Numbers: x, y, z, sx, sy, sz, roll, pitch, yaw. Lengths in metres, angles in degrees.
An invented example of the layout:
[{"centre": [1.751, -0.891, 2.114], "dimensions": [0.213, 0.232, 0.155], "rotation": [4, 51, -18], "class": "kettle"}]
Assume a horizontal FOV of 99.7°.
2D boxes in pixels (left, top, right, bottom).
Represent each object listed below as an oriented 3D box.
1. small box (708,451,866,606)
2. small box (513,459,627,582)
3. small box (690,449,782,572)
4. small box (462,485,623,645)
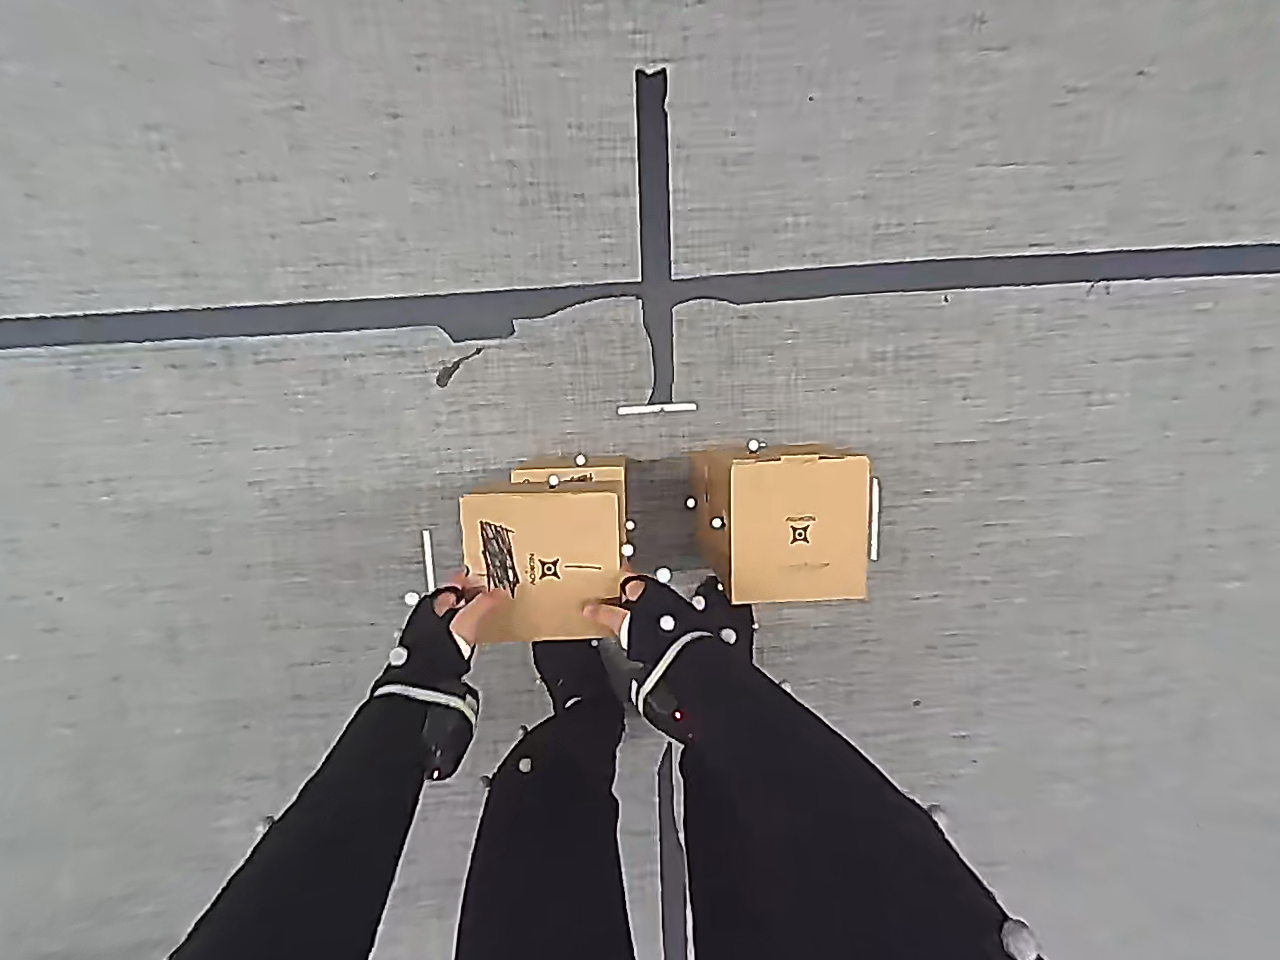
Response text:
[{"centre": [0.184, 0.053, 0.725], "dimensions": [0.168, 0.176, 0.179], "rotation": [-2, 99, -1], "class": "small box"}, {"centre": [-0.105, 0.062, 0.877], "dimensions": [0.168, 0.176, 0.179], "rotation": [-1, 98, -1], "class": "small box"}, {"centre": [0.183, 0.042, 0.888], "dimensions": [0.179, 0.176, 0.168], "rotation": [-4, 98, -2], "class": "small box"}, {"centre": [-0.110, 0.096, 0.675], "dimensions": [0.179, 0.176, 0.168], "rotation": [-1, 94, -3], "class": "small box"}]
